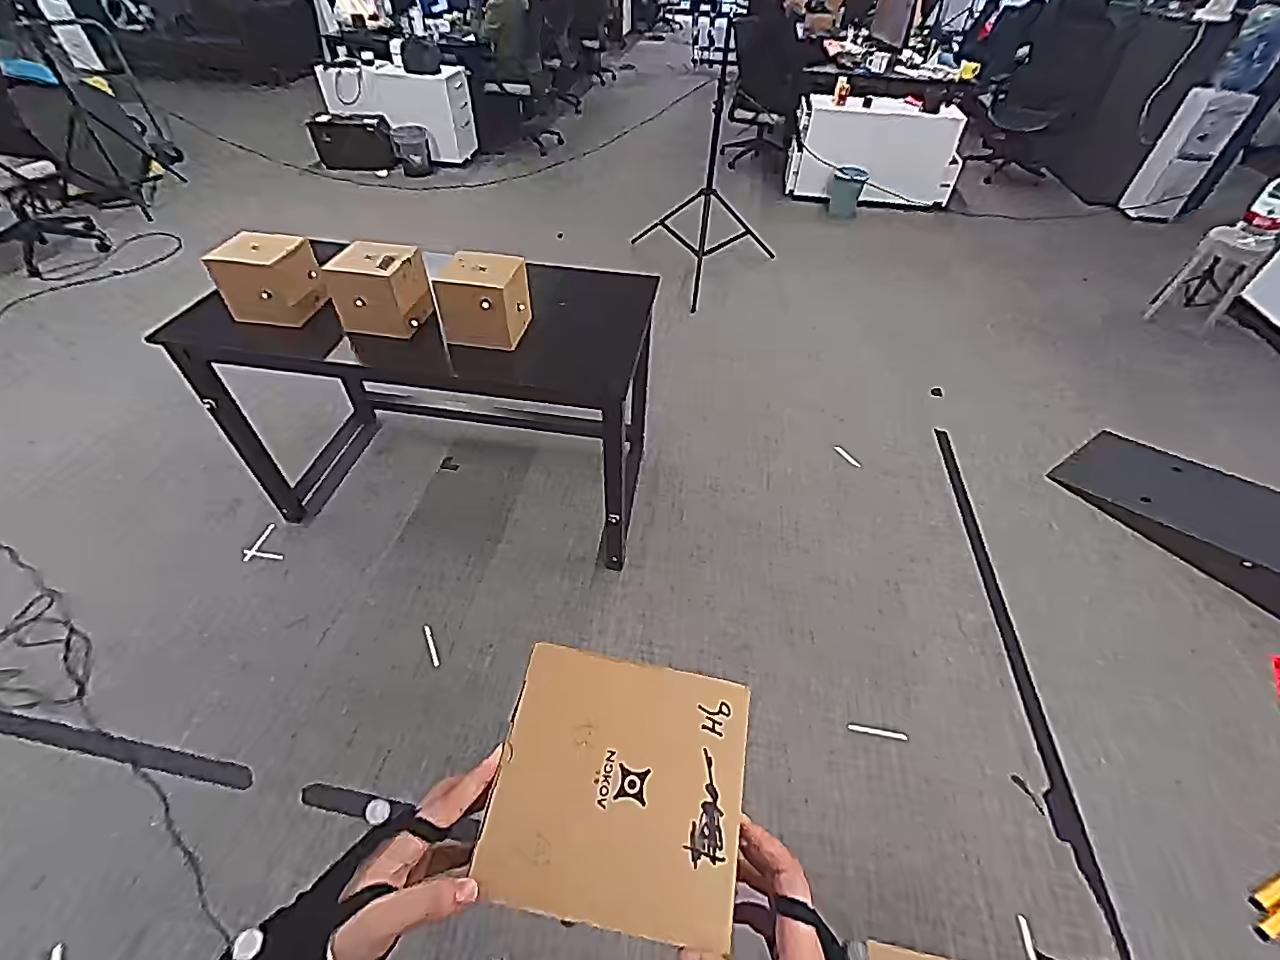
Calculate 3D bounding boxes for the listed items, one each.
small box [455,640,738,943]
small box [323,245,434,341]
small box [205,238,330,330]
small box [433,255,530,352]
[{"bbox_3d":[-0.027,0.253,0.455,0.179,0.176,0.168,11,59,2],"label":"small box"},{"bbox_3d":[-0.651,-0.472,1.373,0.179,0.176,0.168,7,46,6],"label":"small box"},{"bbox_3d":[-0.944,-0.502,1.393,0.179,0.176,0.168,5,45,4],"label":"small box"},{"bbox_3d":[-0.384,-0.438,1.350,0.179,0.176,0.168,7,46,5],"label":"small box"}]
